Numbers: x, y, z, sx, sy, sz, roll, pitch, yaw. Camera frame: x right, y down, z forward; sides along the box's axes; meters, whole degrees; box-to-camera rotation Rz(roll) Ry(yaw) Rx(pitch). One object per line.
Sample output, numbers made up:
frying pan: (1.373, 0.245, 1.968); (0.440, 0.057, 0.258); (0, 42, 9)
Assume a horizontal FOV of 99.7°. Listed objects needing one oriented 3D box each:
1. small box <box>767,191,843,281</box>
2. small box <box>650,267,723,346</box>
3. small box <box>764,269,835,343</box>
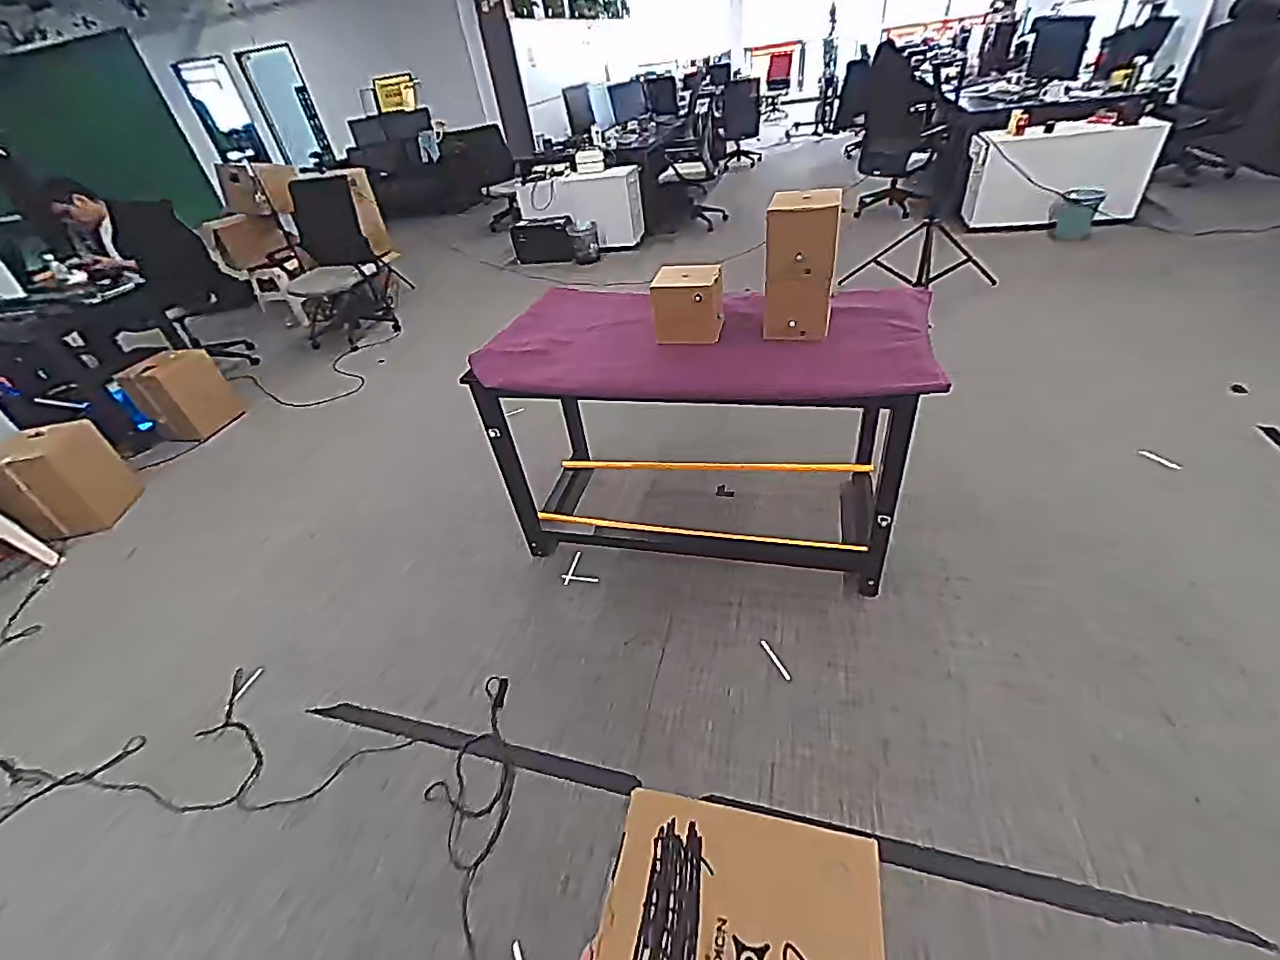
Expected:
small box: (0.416, -0.618, 1.371); (0.168, 0.176, 0.179); (6, 41, 19)
small box: (0.138, -0.493, 1.541); (0.179, 0.176, 0.168); (4, 40, 16)
small box: (0.434, -0.491, 1.475); (0.168, 0.176, 0.179); (6, 41, 19)
